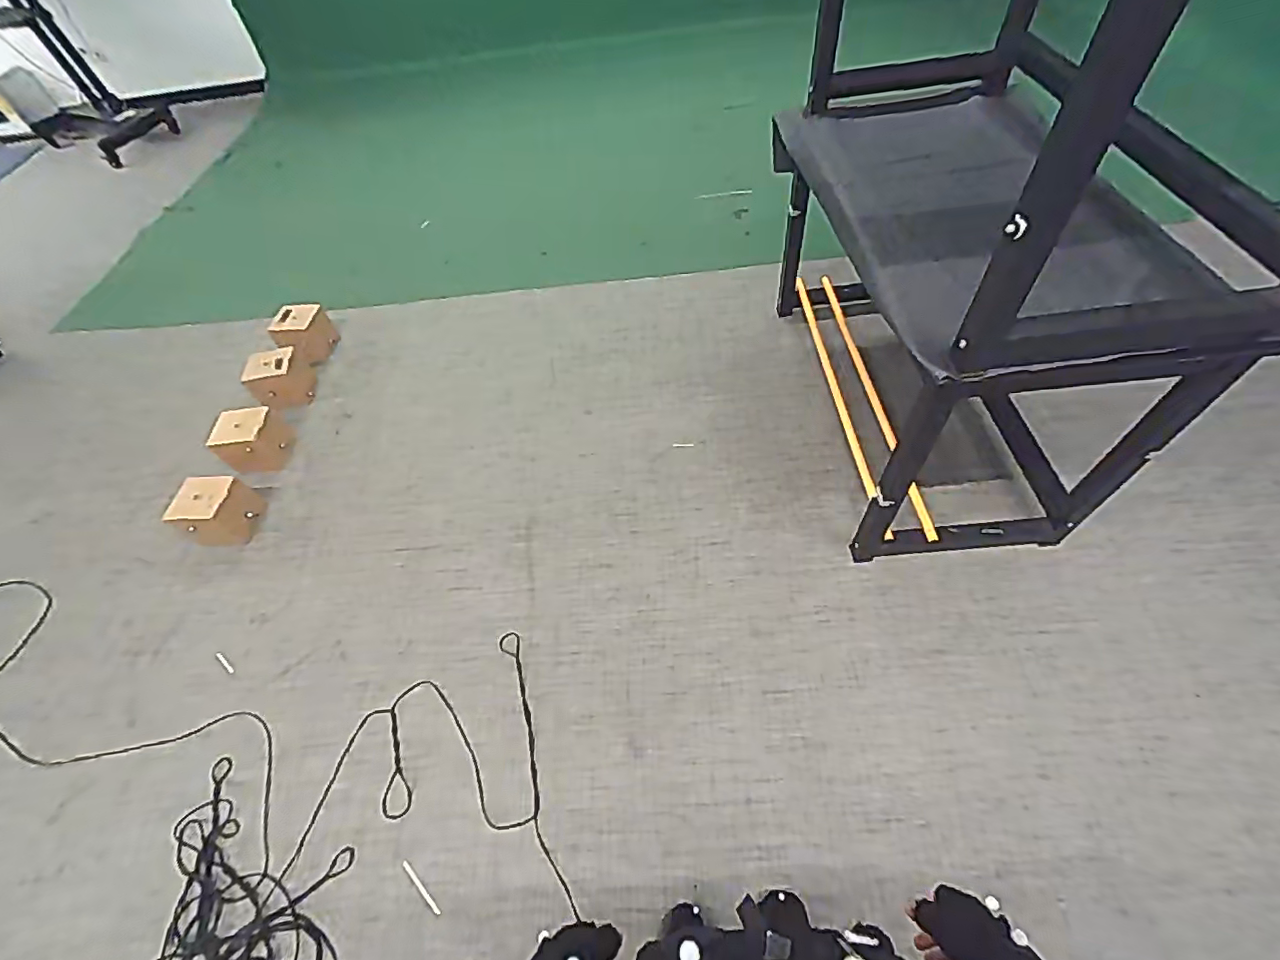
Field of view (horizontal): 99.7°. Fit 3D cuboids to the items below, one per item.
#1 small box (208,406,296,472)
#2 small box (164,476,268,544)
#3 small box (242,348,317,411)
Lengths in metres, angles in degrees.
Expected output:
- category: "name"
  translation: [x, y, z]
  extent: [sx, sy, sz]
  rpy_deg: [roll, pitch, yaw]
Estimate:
- category: "small box"
  translation: [-1.412, -0.144, 1.979]
  extent: [0.179, 0.176, 0.168]
  rpy_deg: [-7, 55, 0]
- category: "small box"
  translation: [-1.401, 0.103, 1.800]
  extent: [0.179, 0.176, 0.168]
  rpy_deg: [-2, 55, 5]
- category: "small box"
  translation: [-1.436, -0.400, 2.166]
  extent: [0.179, 0.176, 0.168]
  rpy_deg: [-12, 53, -1]
